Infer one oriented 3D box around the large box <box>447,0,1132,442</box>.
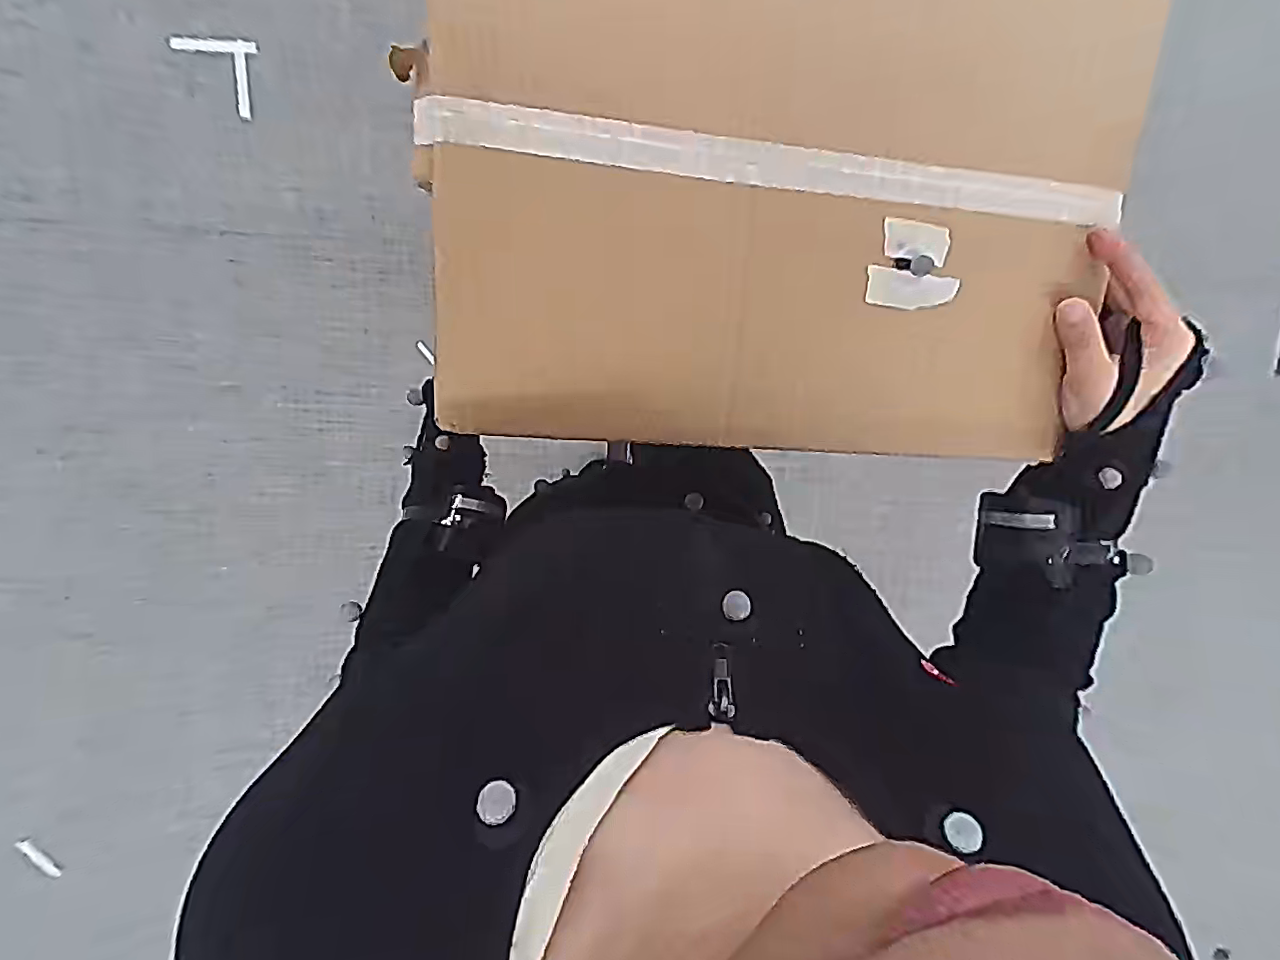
[{"bbox_3d":[0.068,-0.208,0.458,0.408,0.320,0.320,1,102,-11],"label":"large box"}]
